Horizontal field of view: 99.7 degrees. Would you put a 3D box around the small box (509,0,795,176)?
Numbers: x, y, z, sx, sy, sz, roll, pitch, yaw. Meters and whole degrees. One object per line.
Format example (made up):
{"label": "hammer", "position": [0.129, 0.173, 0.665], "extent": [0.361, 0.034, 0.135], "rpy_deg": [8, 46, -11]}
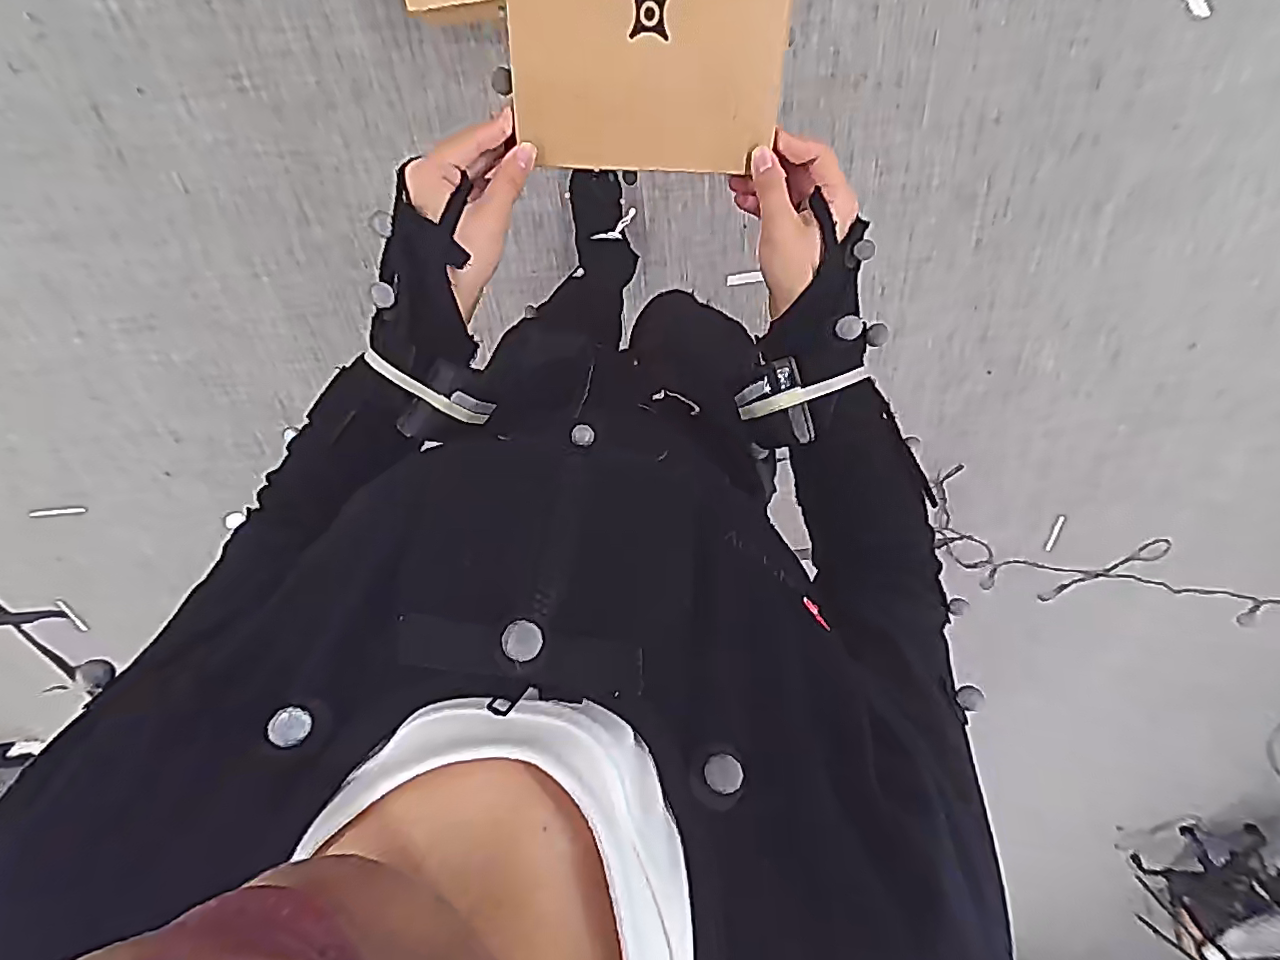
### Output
{"label": "small box", "position": [0.004, -0.321, 0.371], "extent": [0.168, 0.176, 0.179], "rpy_deg": [0, 124, -5]}
